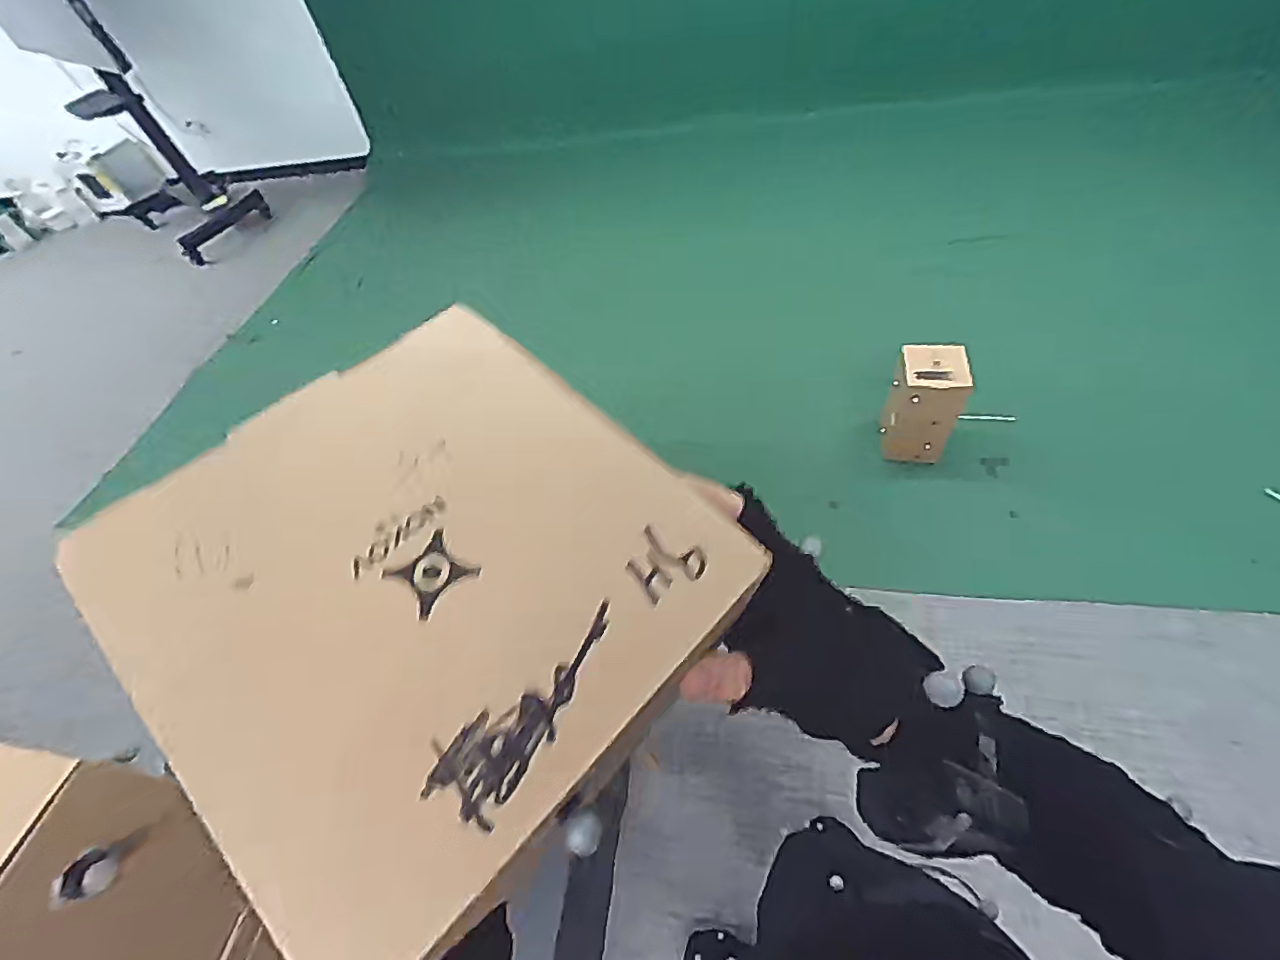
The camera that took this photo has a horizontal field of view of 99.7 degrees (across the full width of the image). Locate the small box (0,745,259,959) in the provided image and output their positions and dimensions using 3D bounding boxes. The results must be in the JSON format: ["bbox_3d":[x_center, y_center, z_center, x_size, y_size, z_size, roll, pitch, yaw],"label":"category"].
[{"bbox_3d":[-0.365,0.265,0.311,0.168,0.176,0.179,2,53,13],"label":"small box"}]

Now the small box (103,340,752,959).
[{"bbox_3d":[-0.076,0.075,0.262,0.179,0.176,0.168,40,68,21],"label":"small box"}]

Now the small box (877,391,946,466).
[{"bbox_3d":[0.865,-0.163,1.736,0.168,0.176,0.179,5,54,15],"label":"small box"}]
